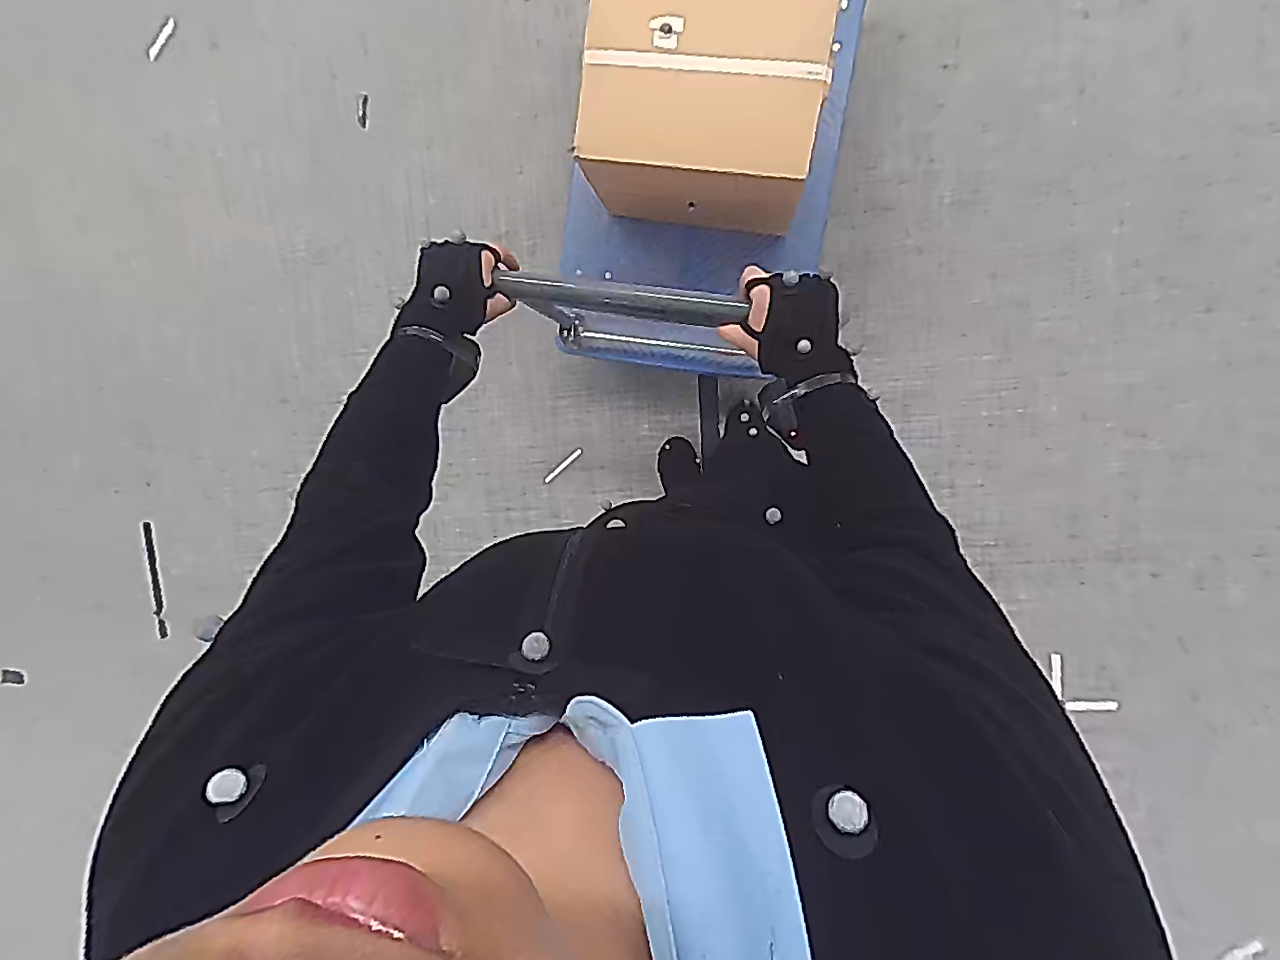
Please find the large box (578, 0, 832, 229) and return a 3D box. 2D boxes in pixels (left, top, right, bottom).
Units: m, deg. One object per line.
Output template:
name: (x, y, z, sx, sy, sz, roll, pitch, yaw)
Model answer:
large box: (0.127, -0.709, 1.060, 0.408, 0.320, 0.320, 10, 99, 8)
